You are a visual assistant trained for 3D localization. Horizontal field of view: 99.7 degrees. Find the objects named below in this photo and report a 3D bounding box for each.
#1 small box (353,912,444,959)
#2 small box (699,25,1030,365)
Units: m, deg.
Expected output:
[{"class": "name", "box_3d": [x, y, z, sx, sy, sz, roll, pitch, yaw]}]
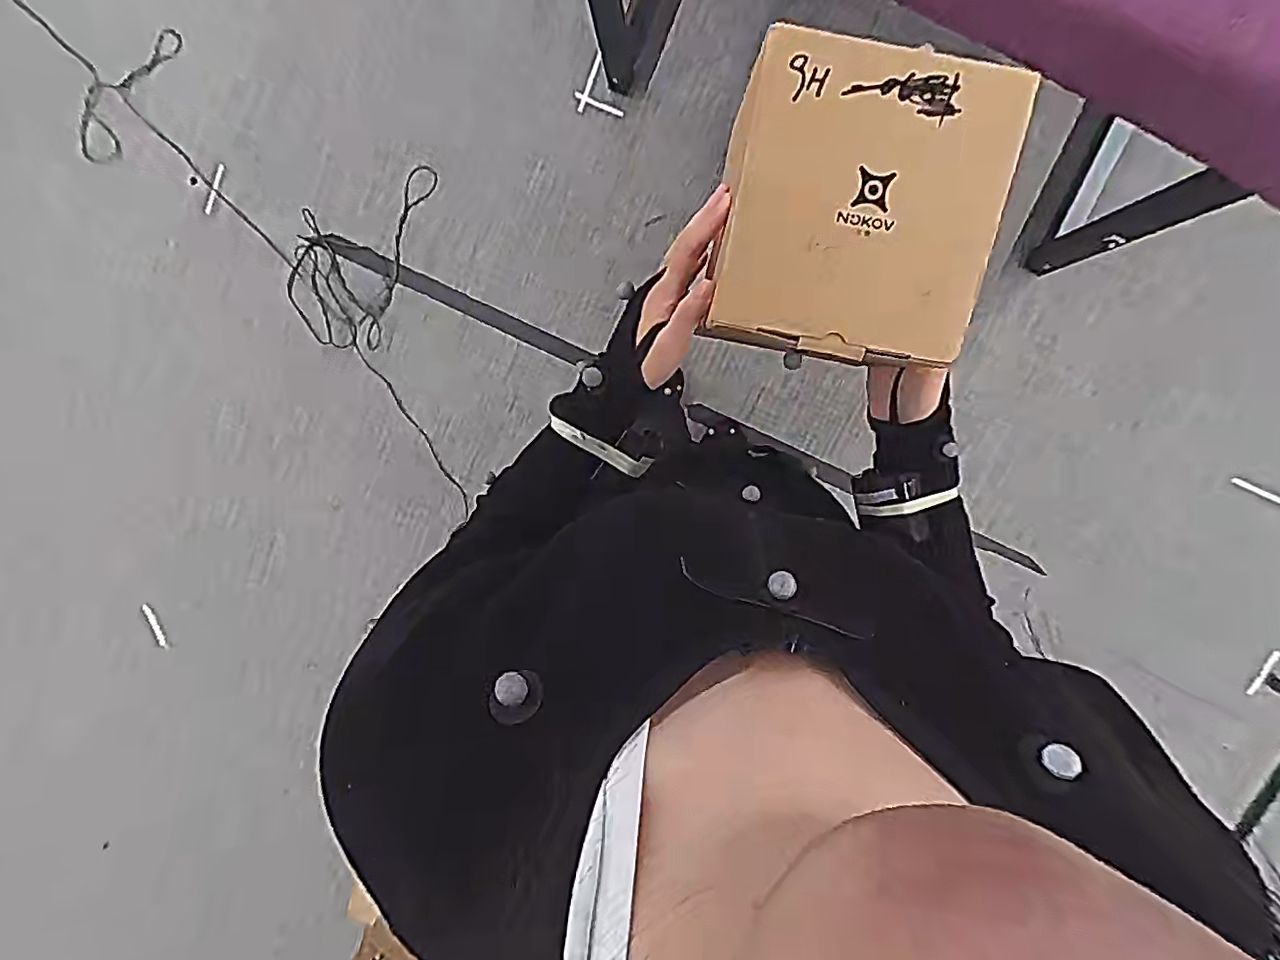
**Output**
[{"class": "small box", "box_3d": [-0.542, 1.082, 1.150, 0.168, 0.176, 0.179, 20, 99, 3]}, {"class": "small box", "box_3d": [0.144, -0.194, 0.422, 0.168, 0.176, 0.179, 11, 103, -1]}]
